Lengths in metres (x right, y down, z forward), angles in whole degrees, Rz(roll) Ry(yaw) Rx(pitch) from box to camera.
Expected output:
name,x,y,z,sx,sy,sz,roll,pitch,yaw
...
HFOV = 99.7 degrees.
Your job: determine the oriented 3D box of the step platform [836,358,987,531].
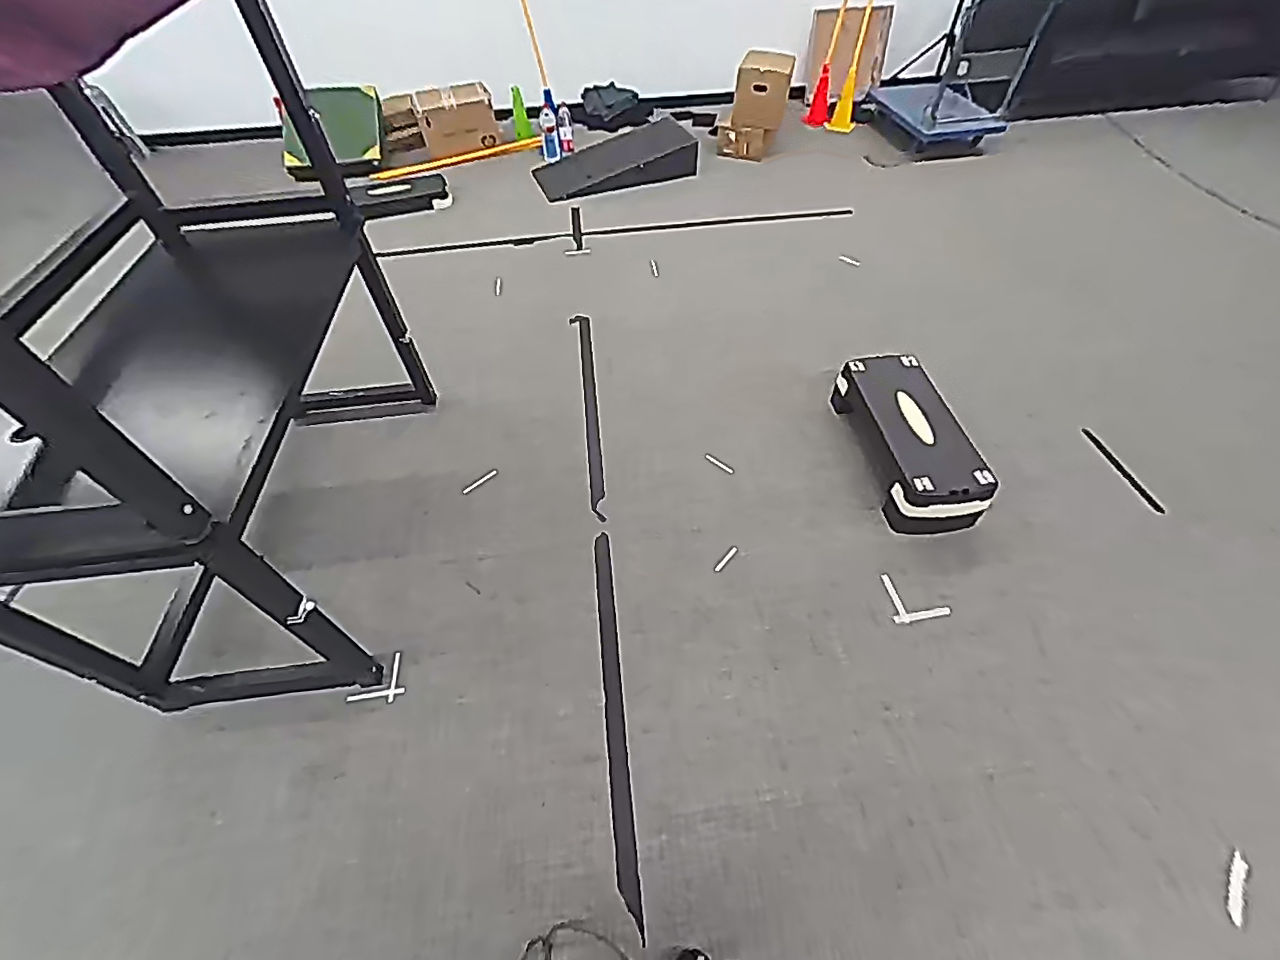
name,x,y,z,sx,sy,sz,roll,pitch,yaw
step platform,0.924,-0.154,1.900,0.286,0.204,0.684,-2,49,1
